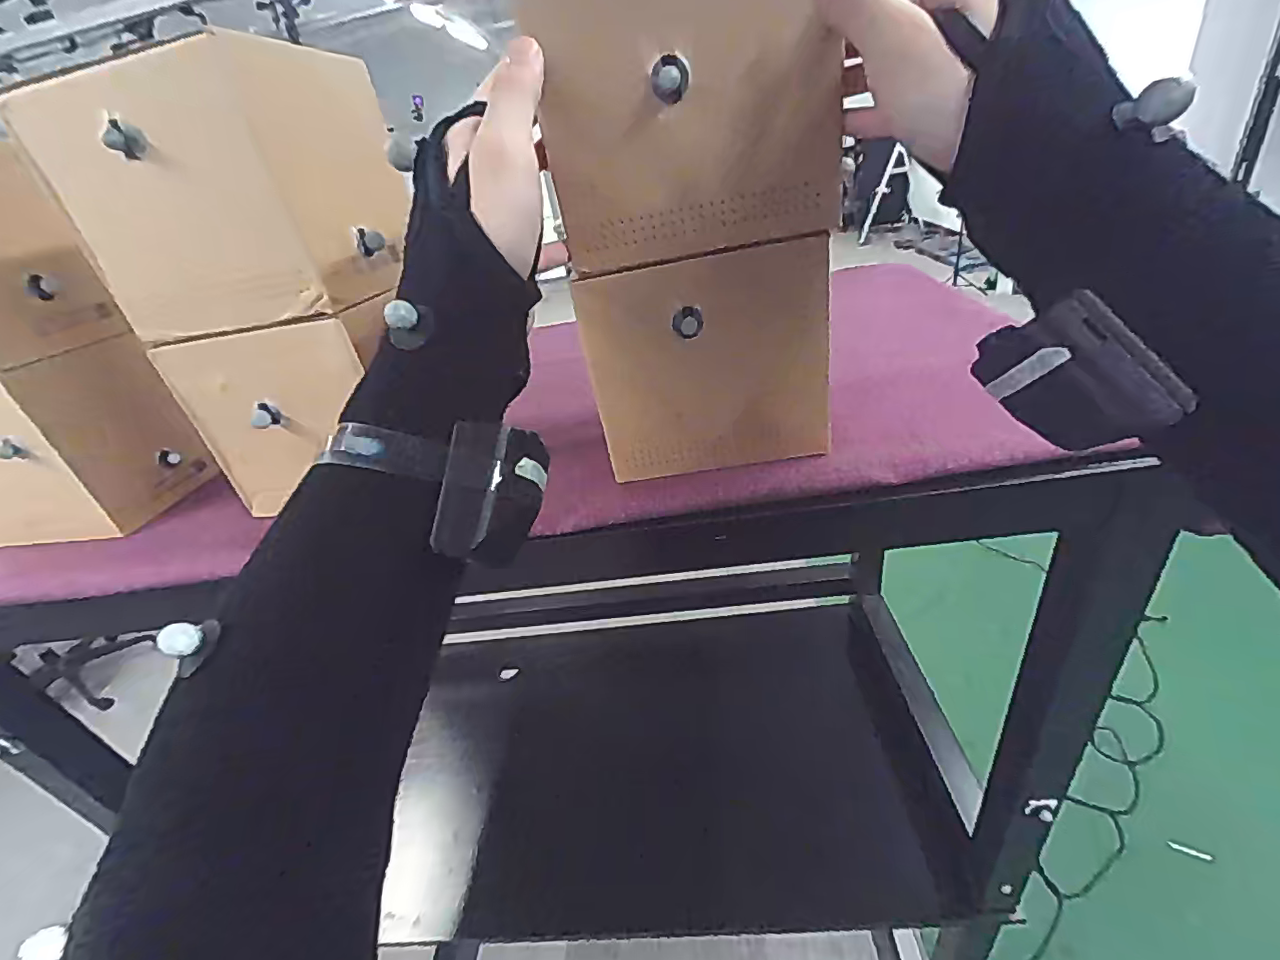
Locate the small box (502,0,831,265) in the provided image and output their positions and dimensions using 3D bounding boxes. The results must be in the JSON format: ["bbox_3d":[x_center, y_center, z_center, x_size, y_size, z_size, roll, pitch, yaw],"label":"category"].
[{"bbox_3d":[0.028,-0.261,0.371,0.179,0.176,0.168,-8,31,10],"label":"small box"}]

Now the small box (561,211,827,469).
[{"bbox_3d":[0.051,-0.123,0.457,0.179,0.176,0.168,-8,32,8],"label":"small box"}]

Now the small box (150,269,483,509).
[{"bbox_3d":[-0.279,-0.086,0.514,0.179,0.176,0.168,-7,31,10],"label":"small box"}]

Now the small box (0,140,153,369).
[{"bbox_3d":[-0.605,-0.195,0.487,0.179,0.176,0.168,-4,31,10],"label":"small box"}]

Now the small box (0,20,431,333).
[{"bbox_3d":[-0.305,-0.226,0.432,0.179,0.176,0.168,-5,31,11],"label":"small box"}]
